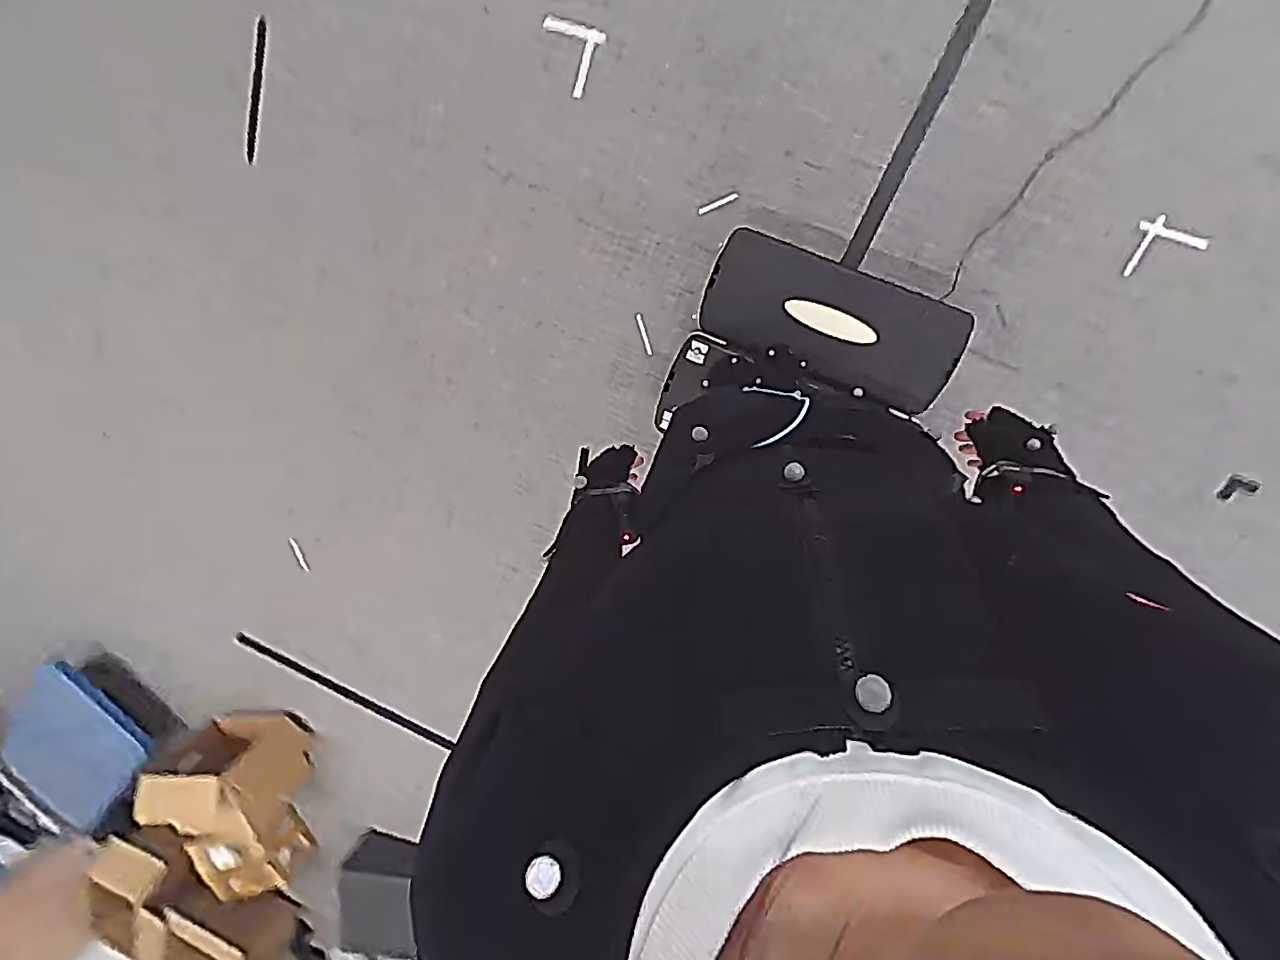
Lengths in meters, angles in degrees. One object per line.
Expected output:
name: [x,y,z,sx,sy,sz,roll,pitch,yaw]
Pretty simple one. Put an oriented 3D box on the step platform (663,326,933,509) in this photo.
step platform: [0.409,-0.174,1.474,0.684,0.204,0.286,23,108,7]
